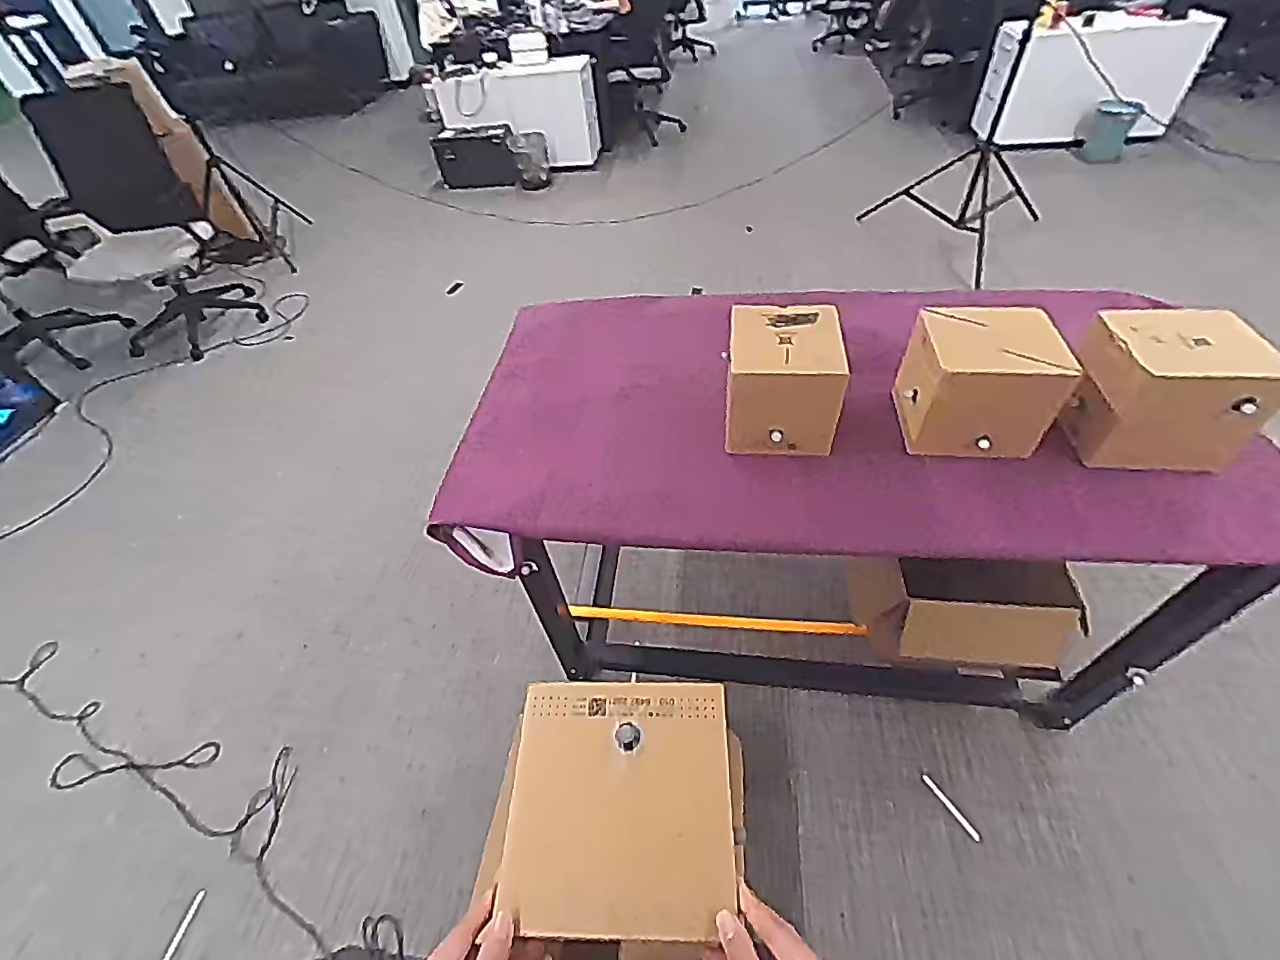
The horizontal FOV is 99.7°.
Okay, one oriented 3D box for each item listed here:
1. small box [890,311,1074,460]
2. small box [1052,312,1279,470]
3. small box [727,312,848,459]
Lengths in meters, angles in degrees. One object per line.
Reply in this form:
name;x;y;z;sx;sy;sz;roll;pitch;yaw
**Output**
small box;0.515;-0.149;0.844;0.179;0.176;0.168;2;47;9
small box;0.757;-0.130;0.799;0.179;0.176;0.168;3;46;9
small box;0.230;-0.156;0.887;0.168;0.176;0.179;2;48;8
